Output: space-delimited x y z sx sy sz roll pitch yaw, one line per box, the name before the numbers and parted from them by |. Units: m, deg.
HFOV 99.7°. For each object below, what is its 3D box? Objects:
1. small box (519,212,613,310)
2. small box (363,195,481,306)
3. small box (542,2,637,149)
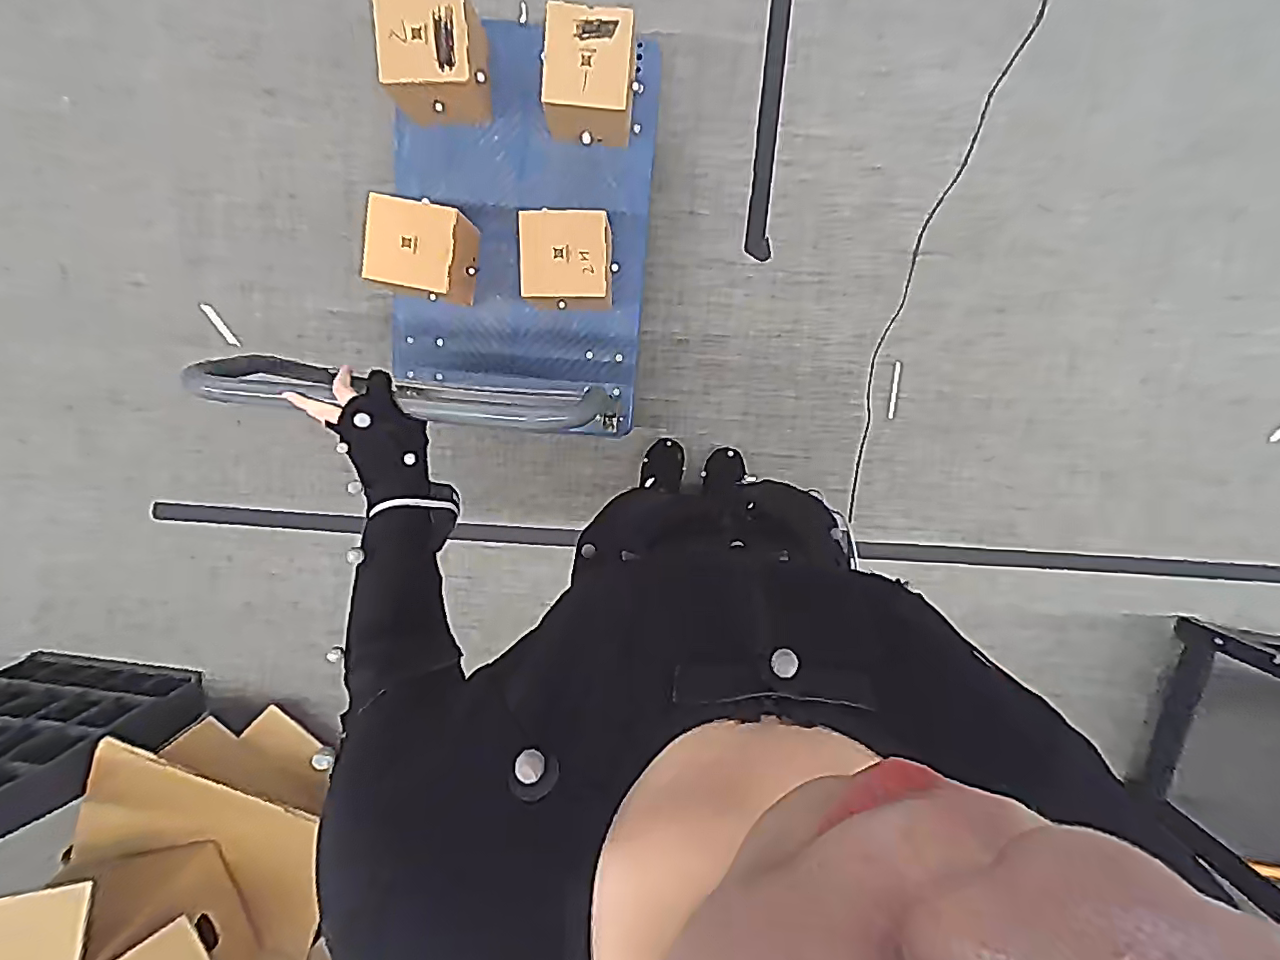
small box | -0.151 -0.459 1.156 0.179 0.176 0.168 1 100 1
small box | -0.459 -0.479 1.156 0.179 0.176 0.168 10 98 -3
small box | -0.097 -0.810 1.099 0.168 0.176 0.179 6 100 0
